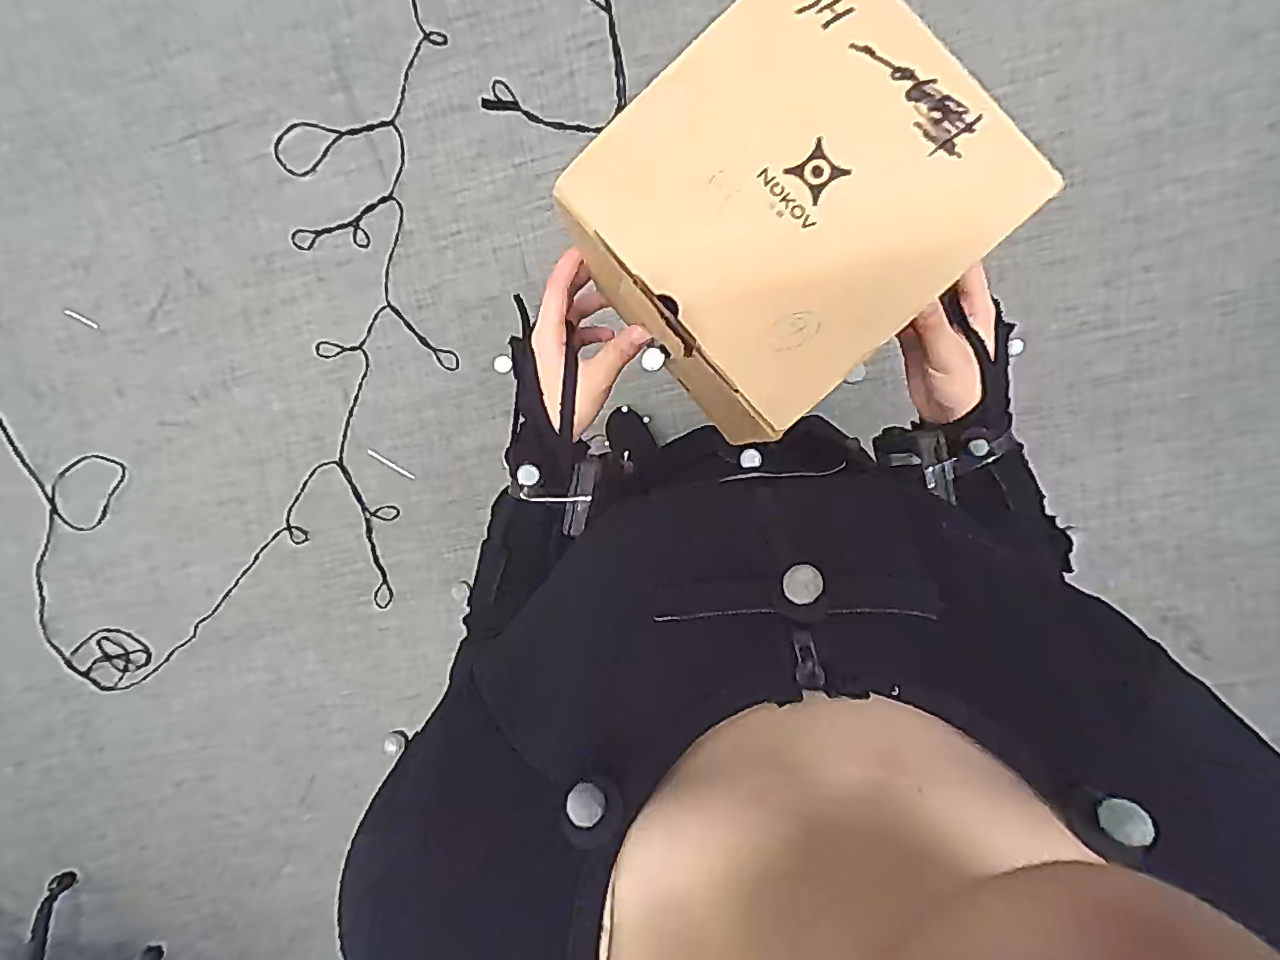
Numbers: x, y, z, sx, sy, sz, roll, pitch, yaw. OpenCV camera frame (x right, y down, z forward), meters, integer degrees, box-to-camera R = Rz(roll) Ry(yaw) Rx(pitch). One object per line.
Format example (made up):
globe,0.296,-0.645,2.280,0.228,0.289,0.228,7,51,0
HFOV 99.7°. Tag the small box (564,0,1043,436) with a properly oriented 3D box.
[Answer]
small box,0.082,-0.141,0.344,0.179,0.176,0.168,-42,90,4
